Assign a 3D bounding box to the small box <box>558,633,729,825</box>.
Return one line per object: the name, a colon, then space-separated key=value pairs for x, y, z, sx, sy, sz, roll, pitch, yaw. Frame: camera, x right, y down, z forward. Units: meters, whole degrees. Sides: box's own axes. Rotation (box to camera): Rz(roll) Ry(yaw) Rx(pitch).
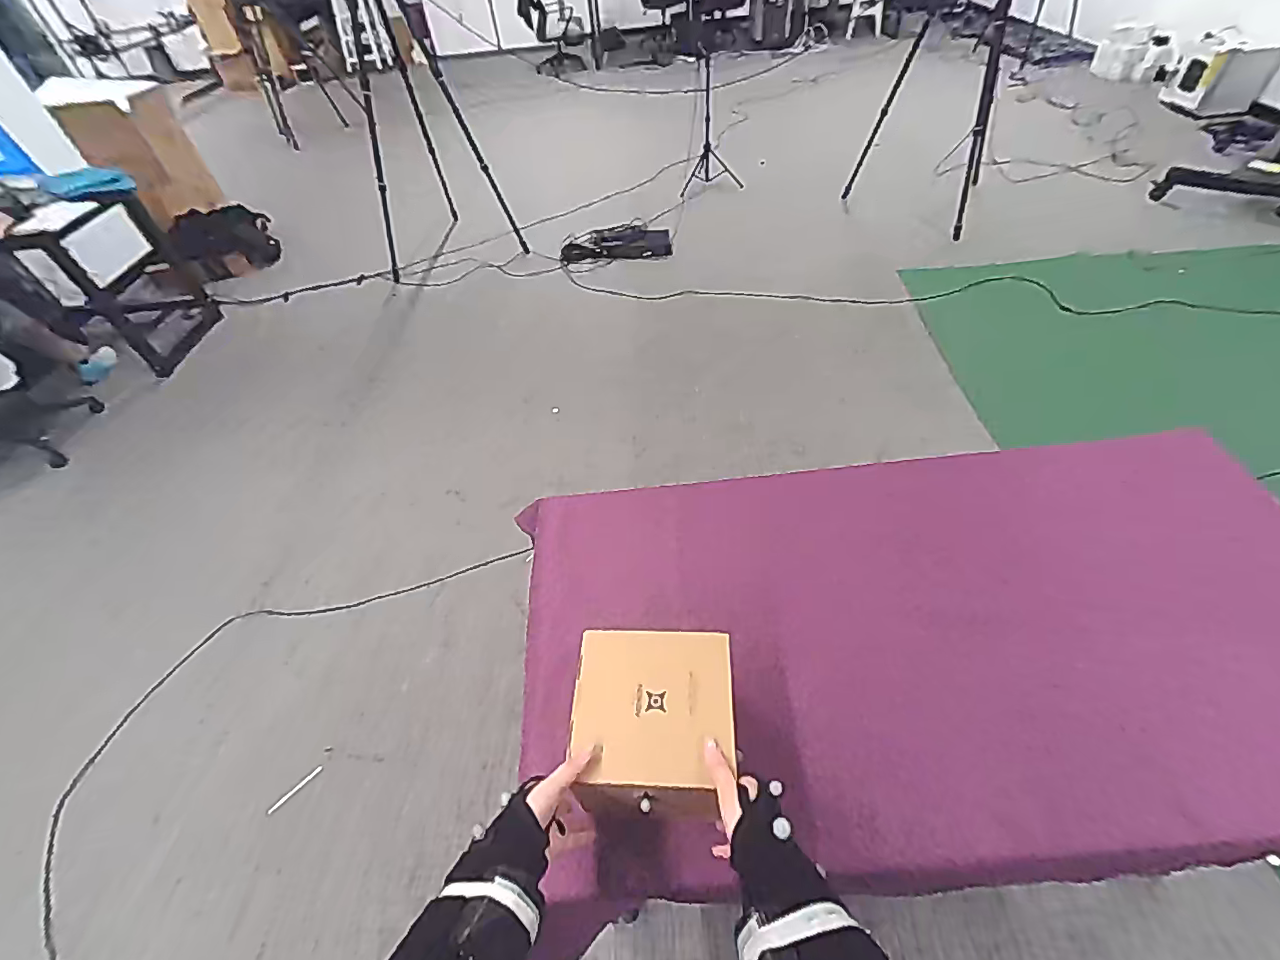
small box: x=0.015 y=0.299 z=0.647 sx=0.179 sy=0.176 sz=0.168 roll=0 pitch=48 yaw=6
